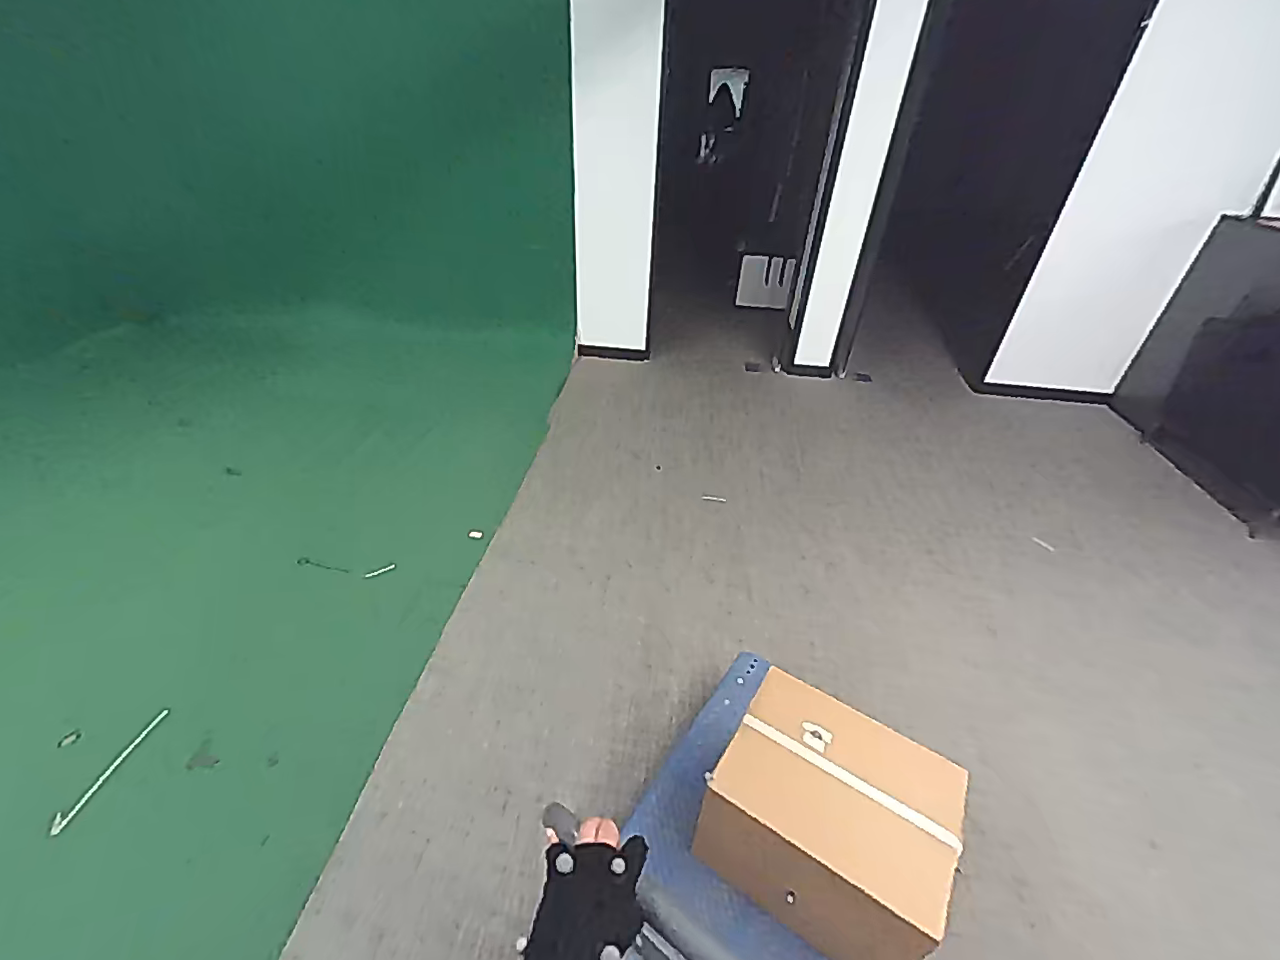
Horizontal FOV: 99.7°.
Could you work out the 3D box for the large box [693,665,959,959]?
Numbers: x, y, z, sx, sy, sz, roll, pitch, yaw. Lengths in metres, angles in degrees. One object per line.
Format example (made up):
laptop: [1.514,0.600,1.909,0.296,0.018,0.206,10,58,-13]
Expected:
large box: [0.362,0.670,1.103,0.408,0.320,0.320,23,40,26]
